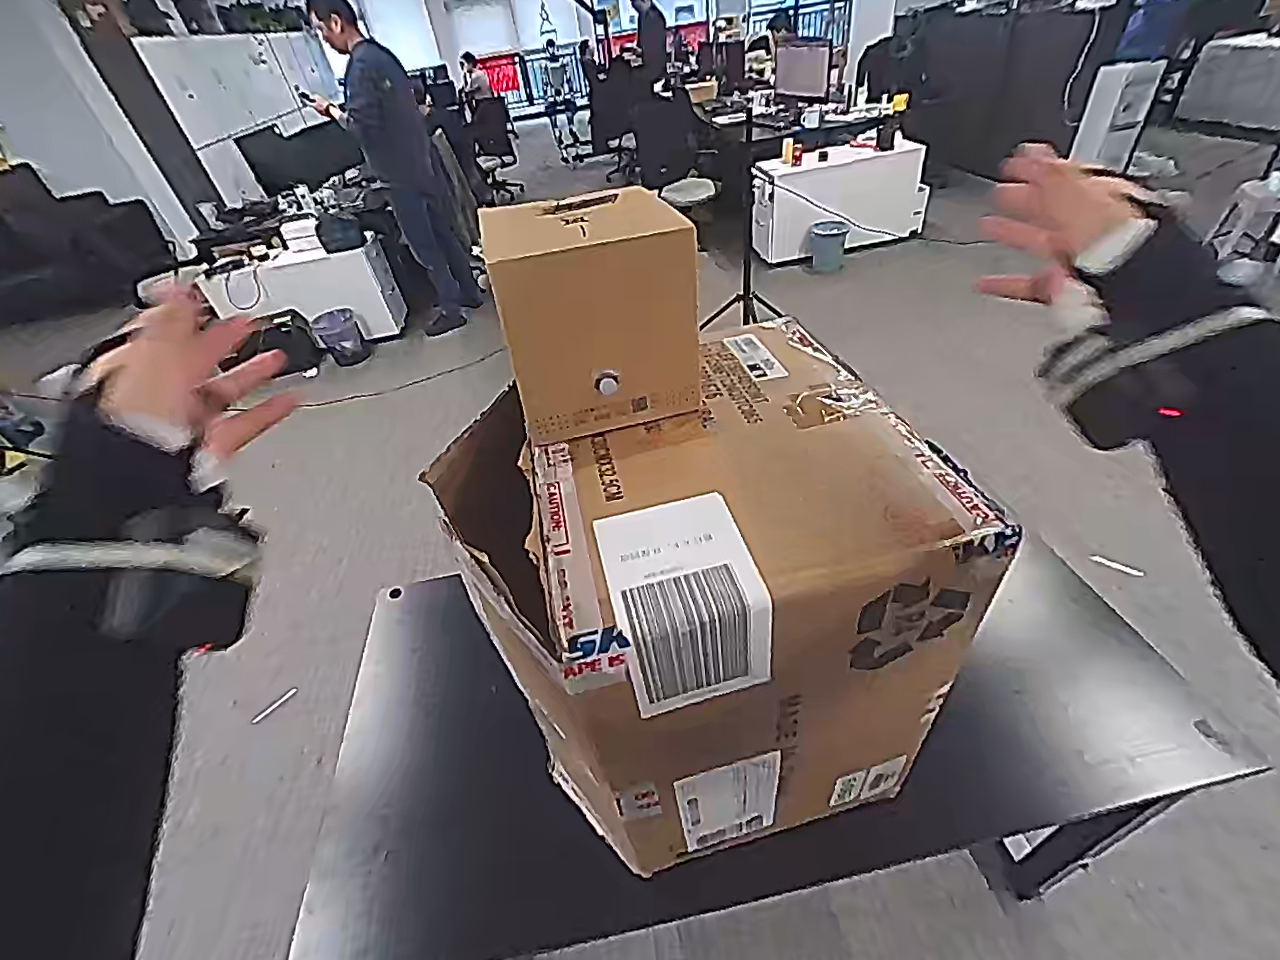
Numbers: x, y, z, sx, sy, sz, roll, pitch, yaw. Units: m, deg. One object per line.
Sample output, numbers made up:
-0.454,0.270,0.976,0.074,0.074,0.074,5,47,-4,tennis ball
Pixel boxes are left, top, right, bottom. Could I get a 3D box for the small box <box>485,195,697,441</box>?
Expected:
-0.048,-0.162,0.530,0.168,0.176,0.179,-14,39,-8,small box
